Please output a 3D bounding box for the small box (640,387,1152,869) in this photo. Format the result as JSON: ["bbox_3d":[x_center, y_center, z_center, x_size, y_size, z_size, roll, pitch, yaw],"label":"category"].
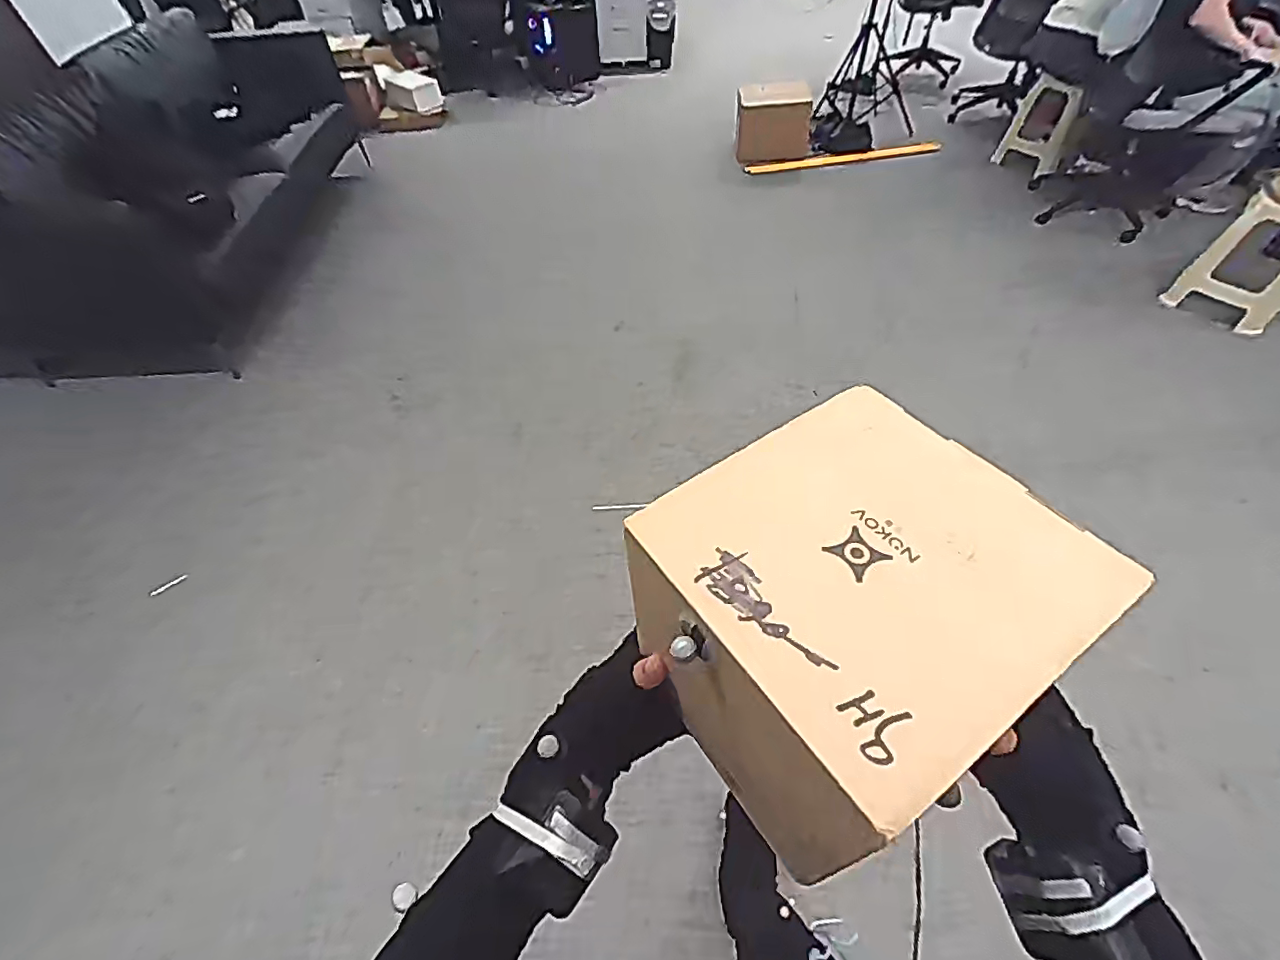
[{"bbox_3d":[0.114,0.082,0.314,0.179,0.176,0.168,-27,52,-20],"label":"small box"}]
